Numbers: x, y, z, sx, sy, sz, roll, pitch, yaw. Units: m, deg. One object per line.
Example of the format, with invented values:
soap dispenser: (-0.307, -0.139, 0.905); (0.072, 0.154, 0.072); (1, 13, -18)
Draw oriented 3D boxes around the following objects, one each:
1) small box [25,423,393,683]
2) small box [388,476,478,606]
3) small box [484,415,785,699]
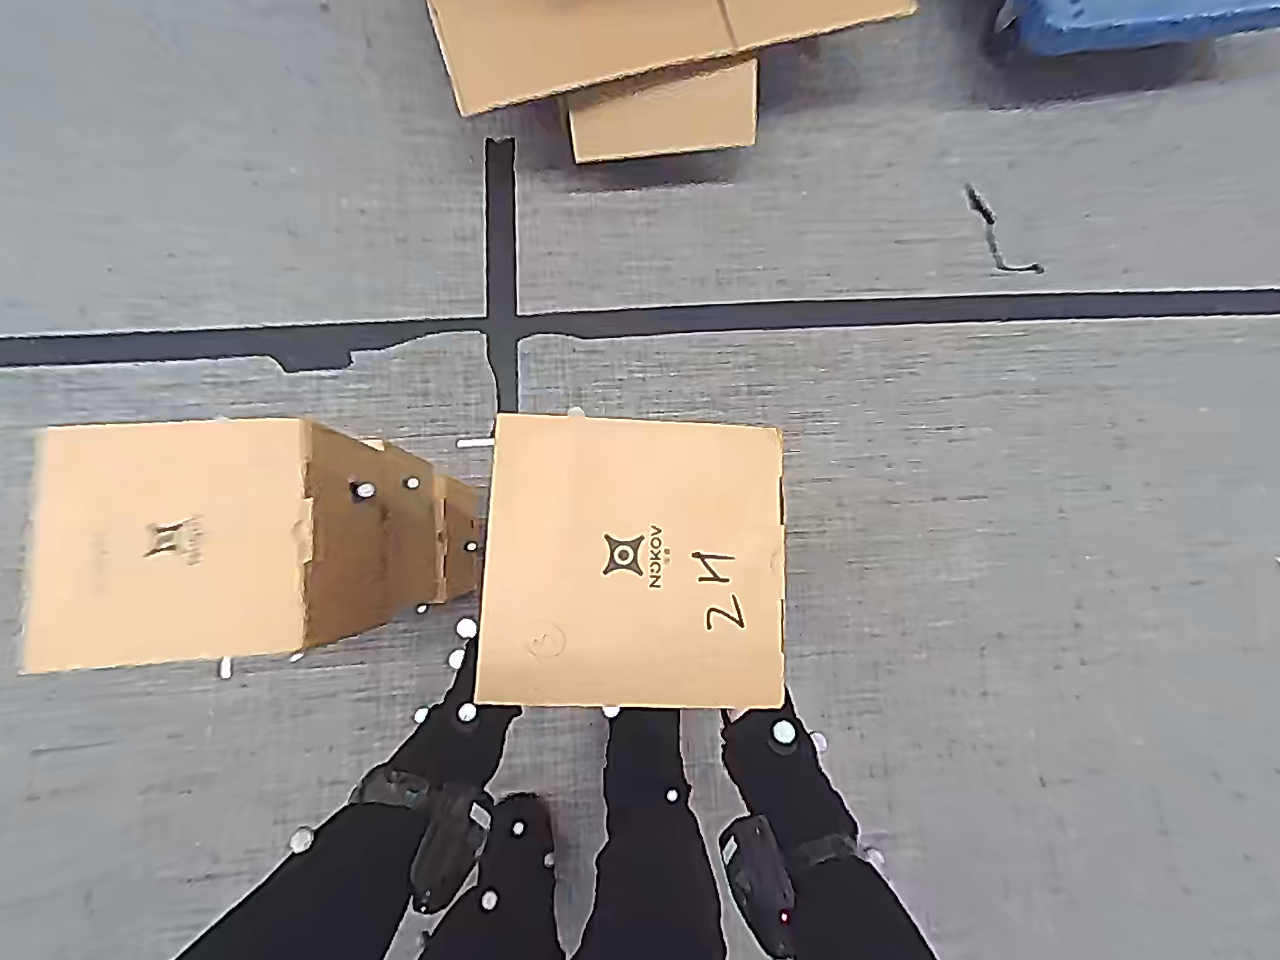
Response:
small box: (-0.316, 0.055, 0.439); (0.179, 0.176, 0.168); (-4, 82, -4)
small box: (-0.337, 0.088, 0.764); (0.179, 0.176, 0.168); (-2, 84, -5)
small box: (-0.005, 0.057, 0.400); (0.179, 0.176, 0.168); (2, 81, -5)
